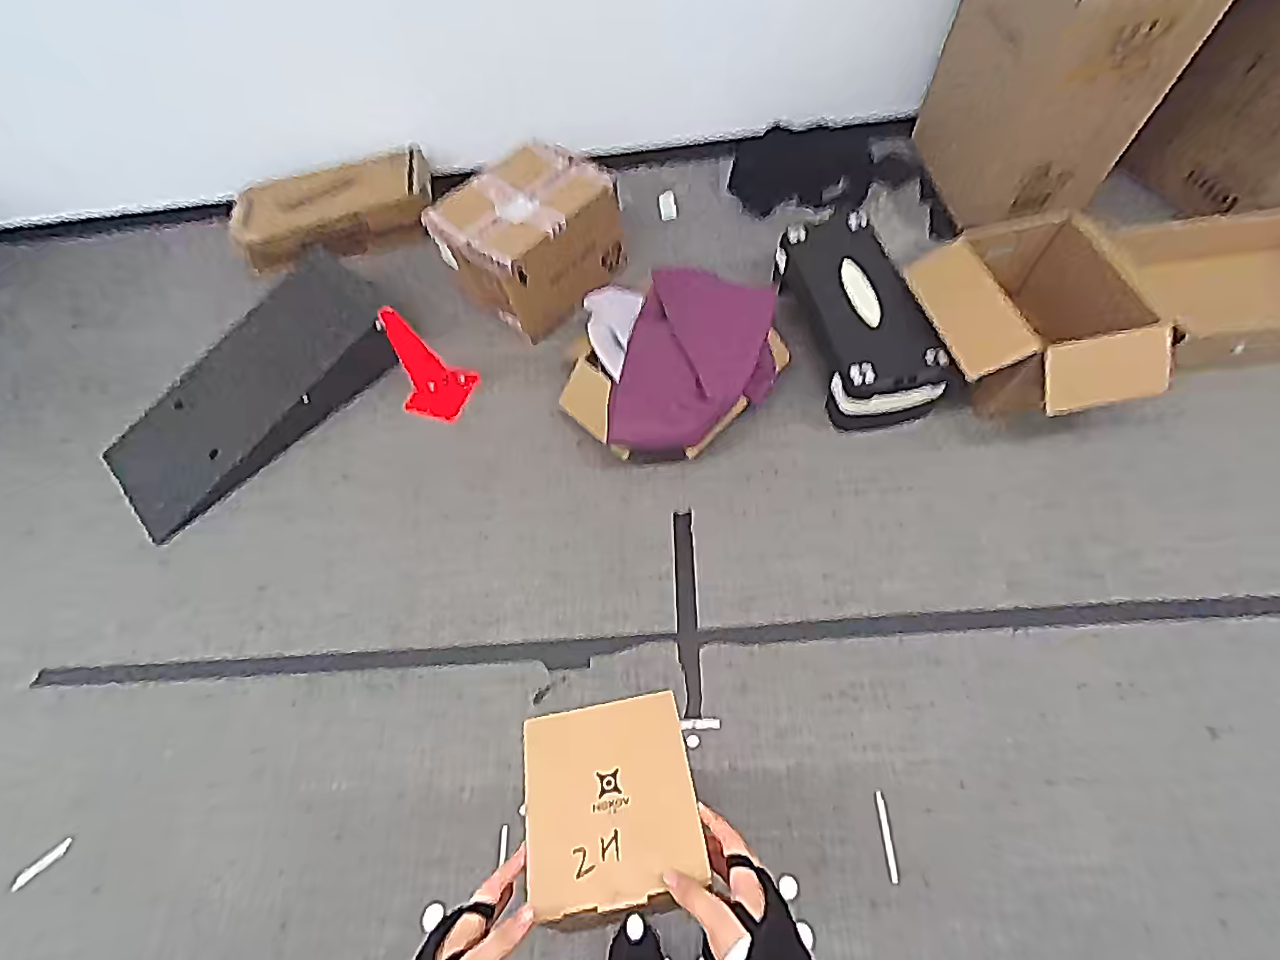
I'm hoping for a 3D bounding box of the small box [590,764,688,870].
[{"bbox_3d":[0.006,0.672,1.092,0.179,0.176,0.168,-1,62,6],"label":"small box"}]
